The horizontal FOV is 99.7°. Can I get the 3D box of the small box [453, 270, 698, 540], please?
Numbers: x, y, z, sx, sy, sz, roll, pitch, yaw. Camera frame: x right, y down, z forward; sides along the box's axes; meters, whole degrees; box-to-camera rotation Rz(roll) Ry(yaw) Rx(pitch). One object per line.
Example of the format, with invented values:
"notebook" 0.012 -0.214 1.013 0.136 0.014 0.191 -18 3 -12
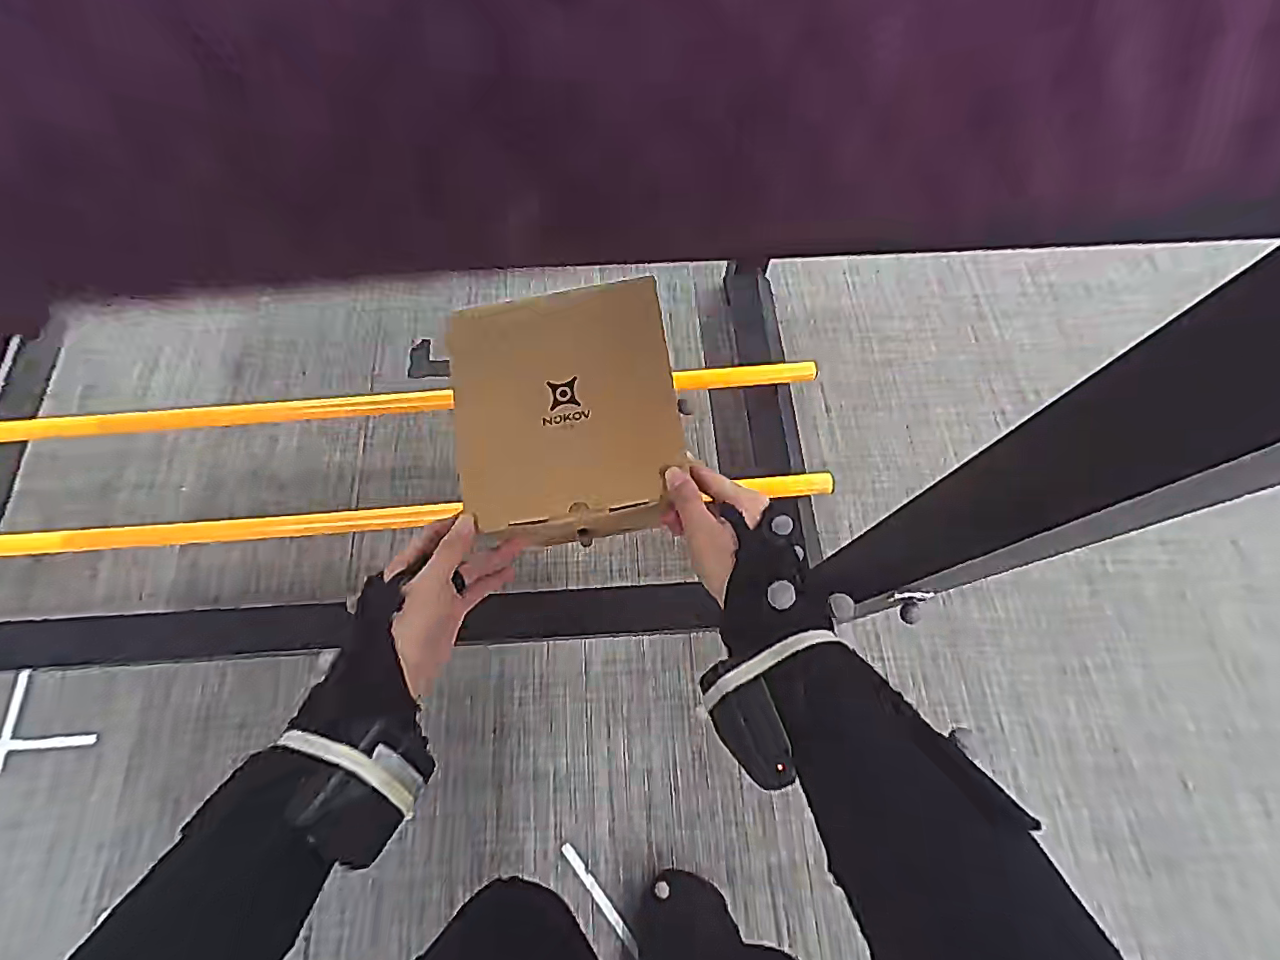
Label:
"small box" -0.047 -0.050 0.474 0.168 0.176 0.179 -9 80 2
